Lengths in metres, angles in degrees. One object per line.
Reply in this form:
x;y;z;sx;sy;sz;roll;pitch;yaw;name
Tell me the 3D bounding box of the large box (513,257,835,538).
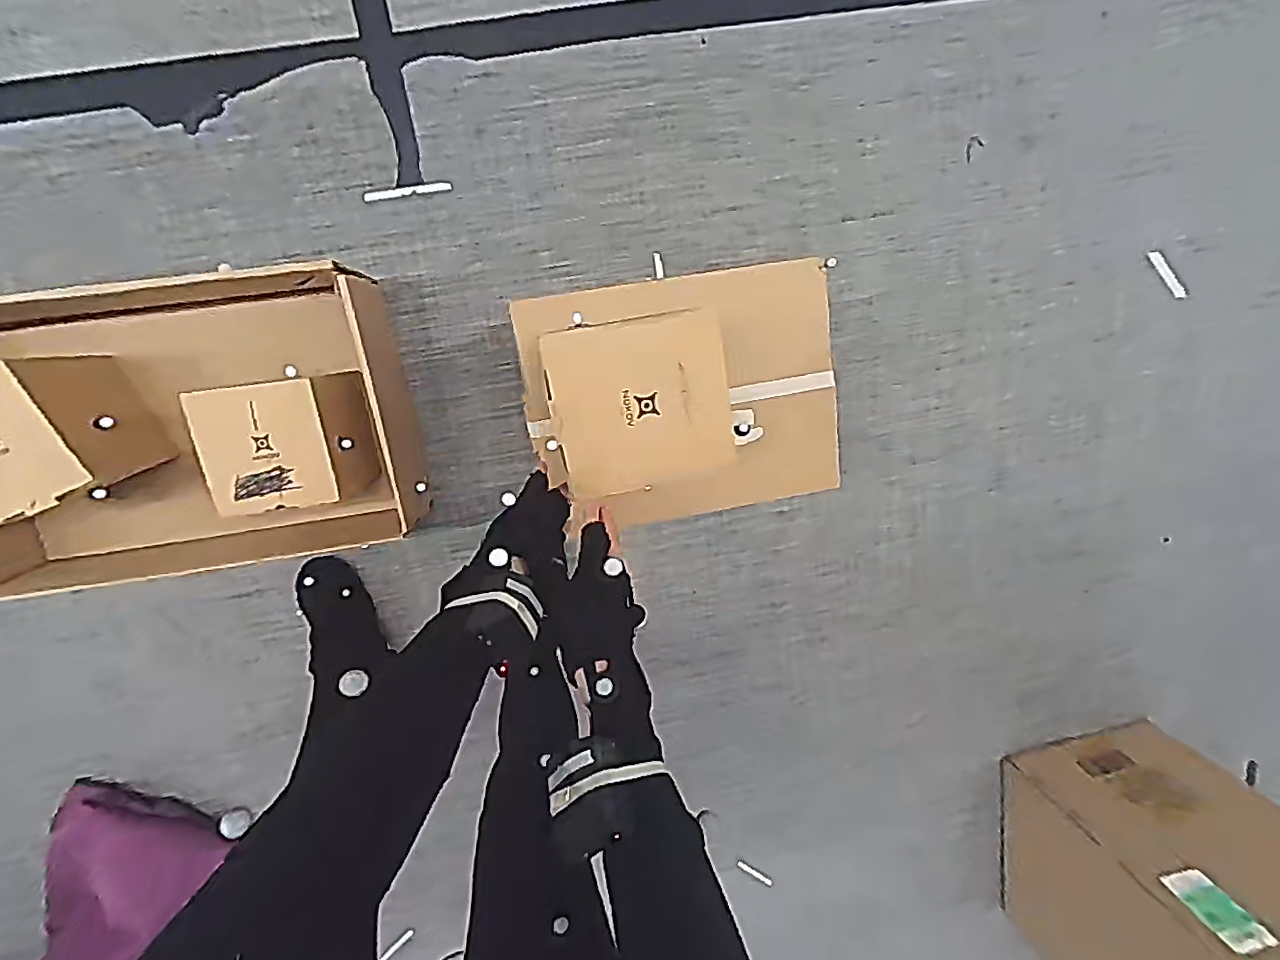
0.038;-0.136;0.857;0.408;0.320;0.320;-11;105;-6;large box
